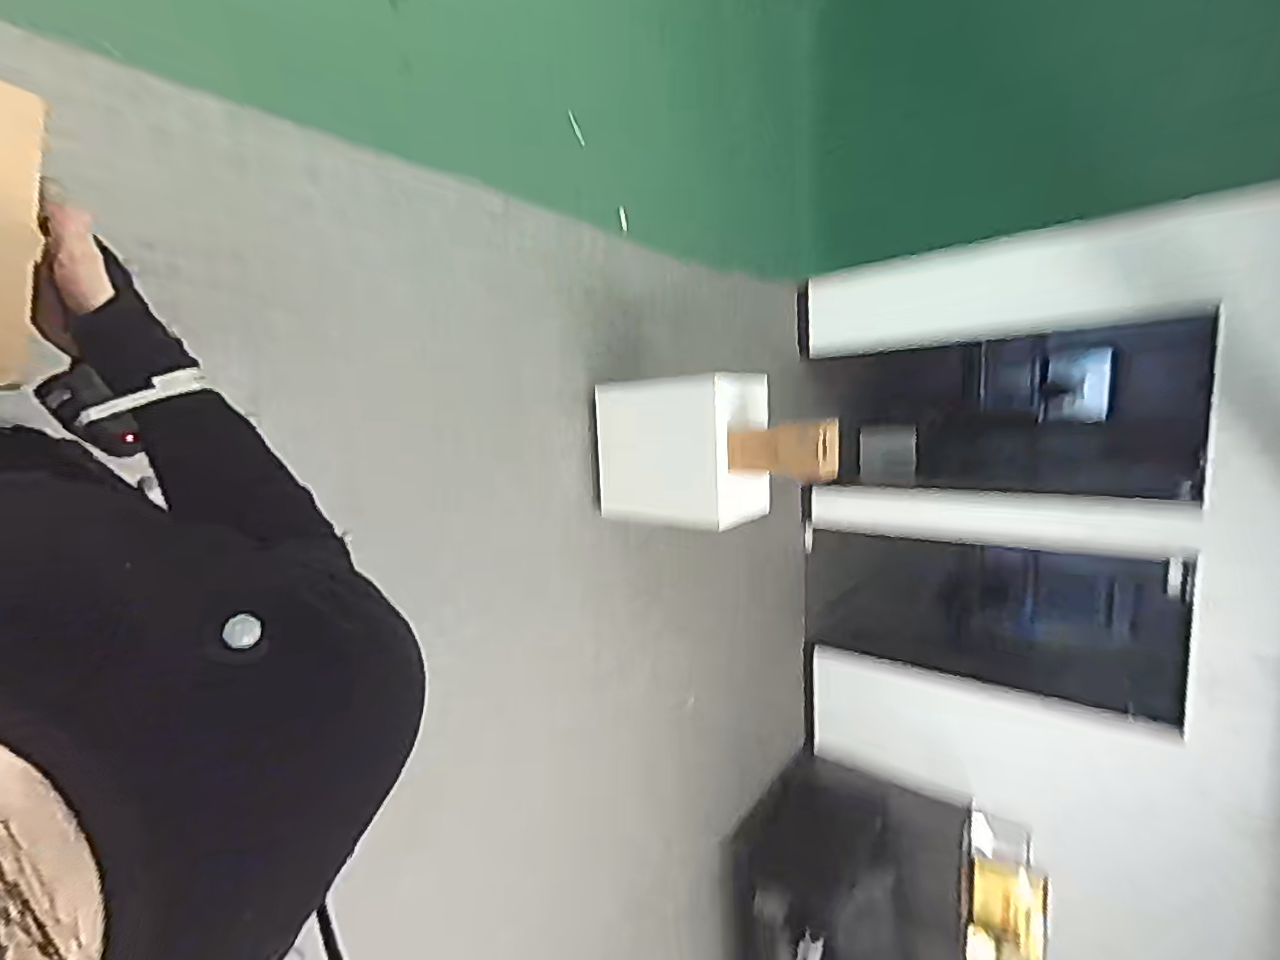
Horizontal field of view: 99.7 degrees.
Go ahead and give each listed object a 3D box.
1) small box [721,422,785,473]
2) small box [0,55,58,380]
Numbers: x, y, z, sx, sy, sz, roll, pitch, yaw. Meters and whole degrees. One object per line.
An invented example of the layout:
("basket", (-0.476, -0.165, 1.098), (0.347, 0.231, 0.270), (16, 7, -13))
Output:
("small box", (0.398, -0.119, 1.899), (0.179, 0.176, 0.168), (-13, 102, -52))
("small box", (-0.459, -0.164, 0.291), (0.168, 0.176, 0.179), (5, 98, -56))
